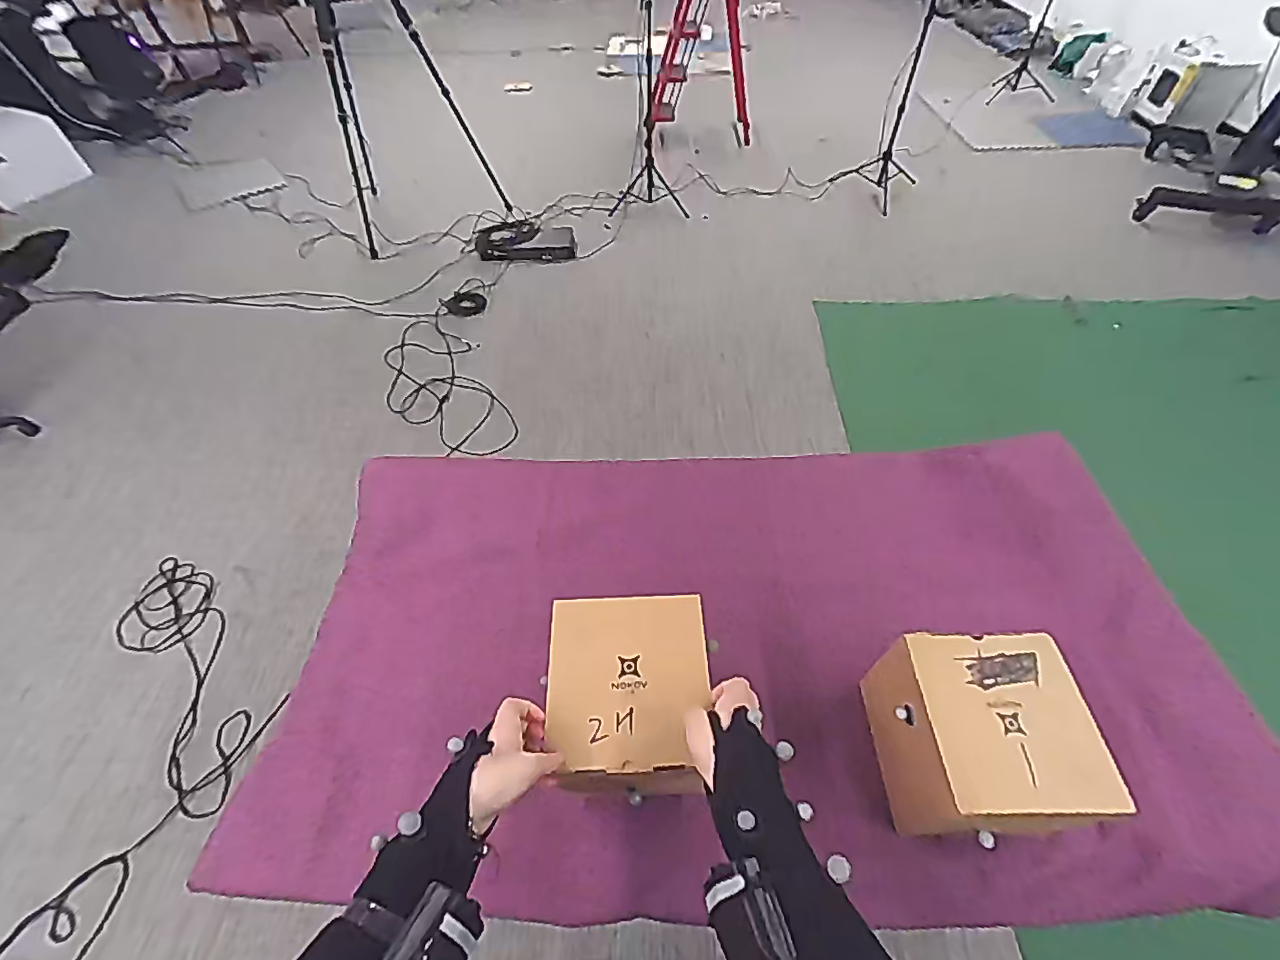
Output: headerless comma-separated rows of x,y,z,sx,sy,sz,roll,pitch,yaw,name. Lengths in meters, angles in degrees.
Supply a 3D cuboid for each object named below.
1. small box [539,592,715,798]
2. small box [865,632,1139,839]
-0.012,0.243,0.607,0.168,0.176,0.179,-2,53,1,small box
0.372,0.286,0.603,0.168,0.176,0.179,-1,51,2,small box
